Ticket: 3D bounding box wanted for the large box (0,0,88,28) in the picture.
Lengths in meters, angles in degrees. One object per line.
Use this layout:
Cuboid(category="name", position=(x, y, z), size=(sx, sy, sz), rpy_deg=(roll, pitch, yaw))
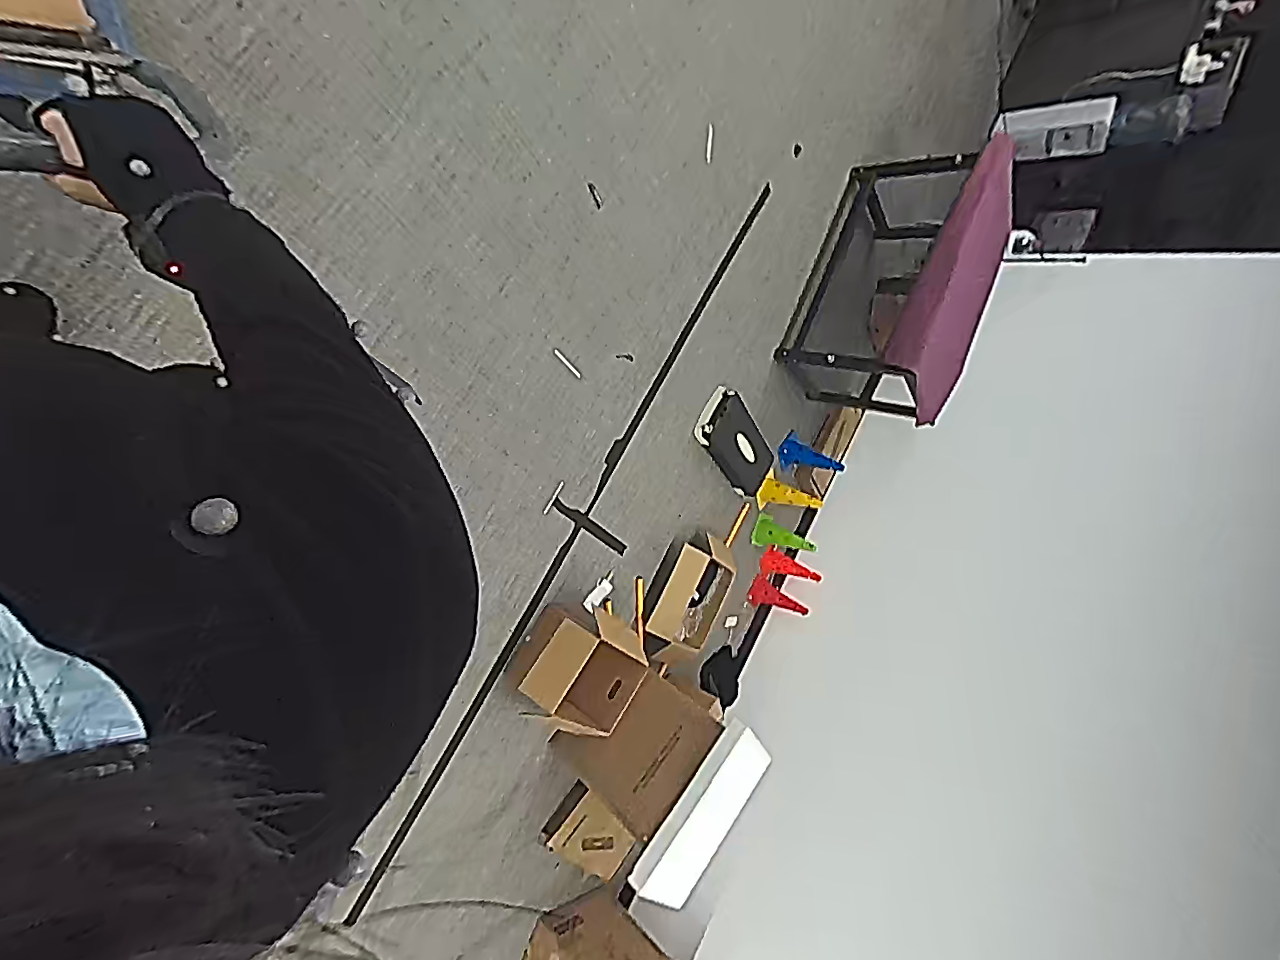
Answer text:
Cuboid(category="large box", position=(-0.910, -0.686, 0.539), size=(0.408, 0.320, 0.320), rpy_deg=(-27, 136, -40))
